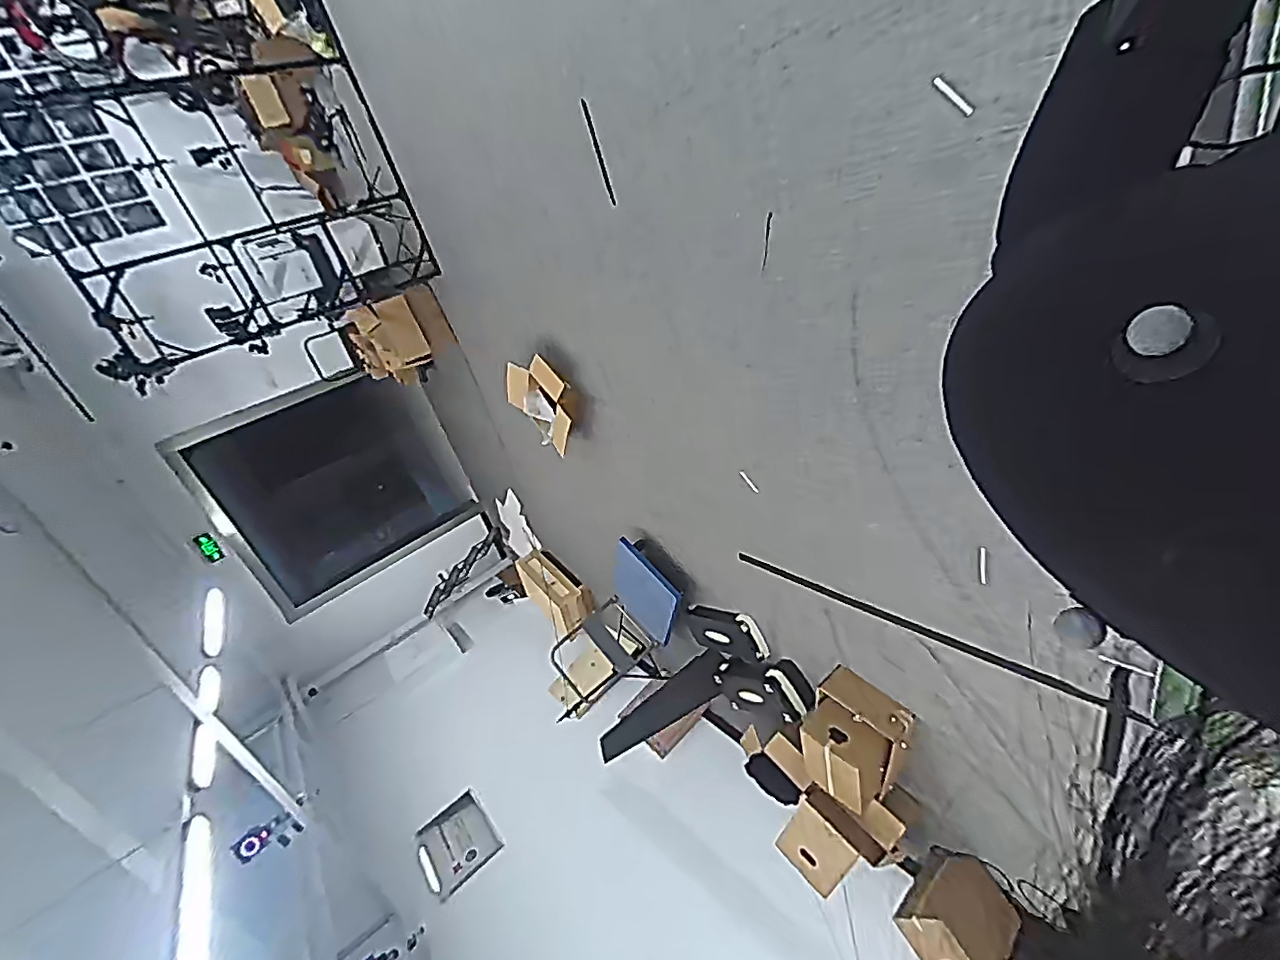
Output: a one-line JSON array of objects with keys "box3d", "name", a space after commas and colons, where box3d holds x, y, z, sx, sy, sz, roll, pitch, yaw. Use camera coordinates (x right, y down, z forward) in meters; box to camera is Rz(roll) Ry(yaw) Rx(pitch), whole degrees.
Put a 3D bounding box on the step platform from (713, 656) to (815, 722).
[{"box3d": [0.721, 1.254, 3.265, 0.286, 0.204, 0.684, 57, 152, 1], "name": "step platform"}]
